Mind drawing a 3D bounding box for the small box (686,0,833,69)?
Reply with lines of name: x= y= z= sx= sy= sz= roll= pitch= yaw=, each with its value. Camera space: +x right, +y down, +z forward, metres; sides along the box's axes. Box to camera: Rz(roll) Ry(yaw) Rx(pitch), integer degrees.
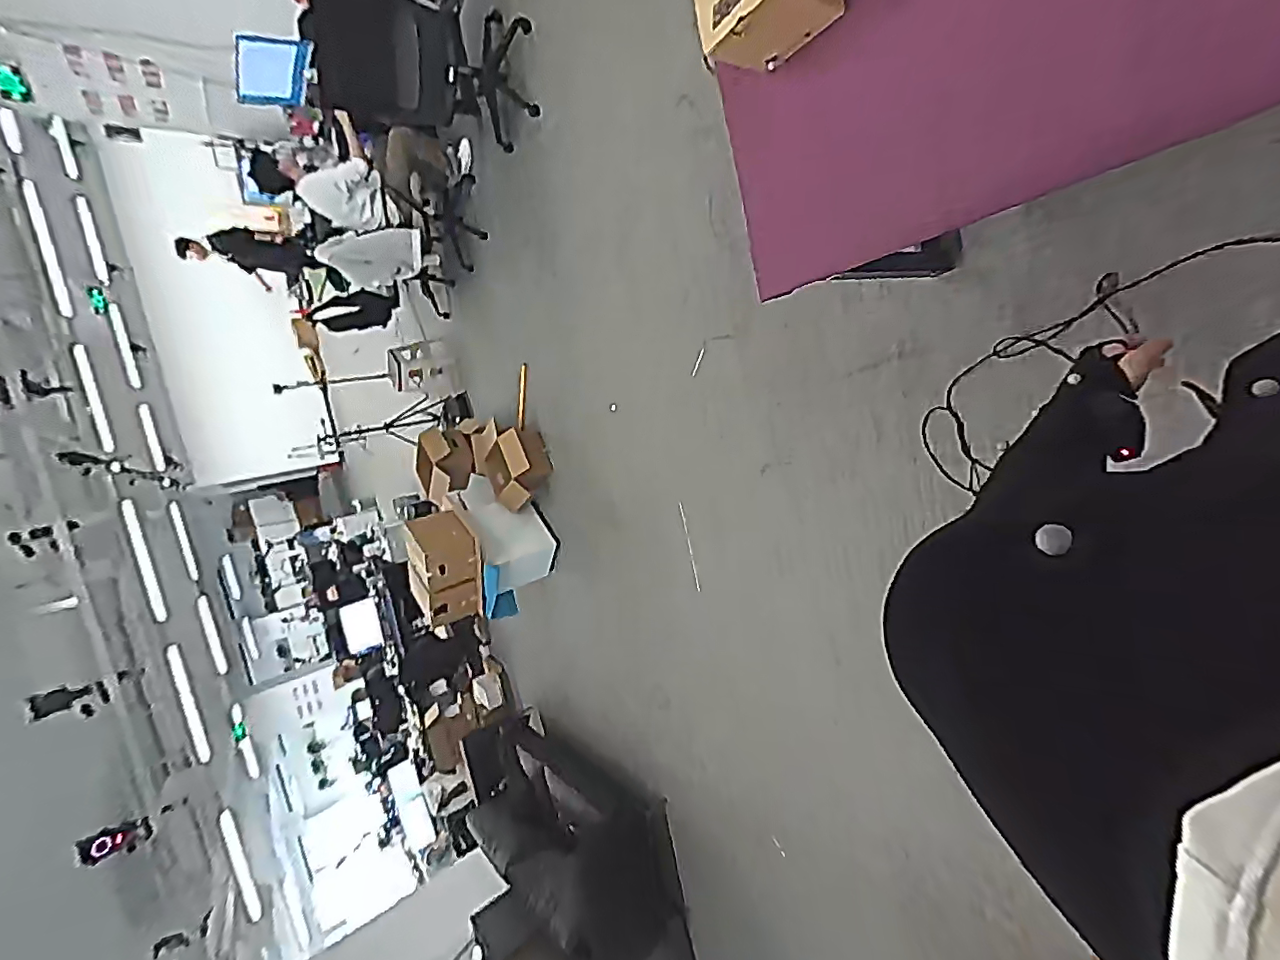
small box: x=0.191 y=-0.810 z=0.880 sx=0.168 sy=0.176 sz=0.179 roll=-2 pitch=103 yaw=53
